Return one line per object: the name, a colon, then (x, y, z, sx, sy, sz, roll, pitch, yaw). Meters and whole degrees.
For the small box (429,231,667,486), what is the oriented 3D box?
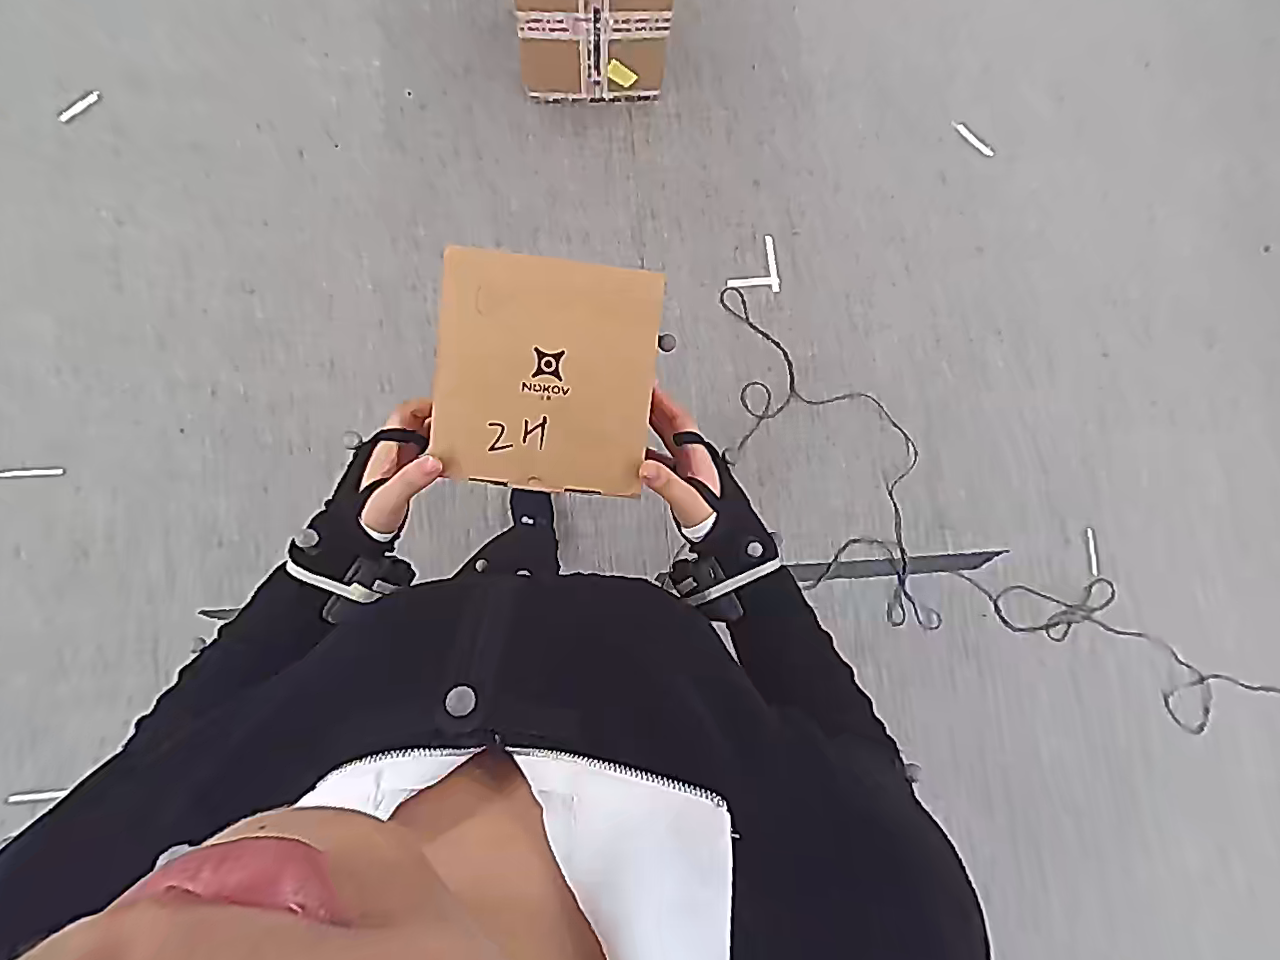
small box: (-0.075, -0.096, 0.490, 0.168, 0.176, 0.179, 6, 95, -4)
